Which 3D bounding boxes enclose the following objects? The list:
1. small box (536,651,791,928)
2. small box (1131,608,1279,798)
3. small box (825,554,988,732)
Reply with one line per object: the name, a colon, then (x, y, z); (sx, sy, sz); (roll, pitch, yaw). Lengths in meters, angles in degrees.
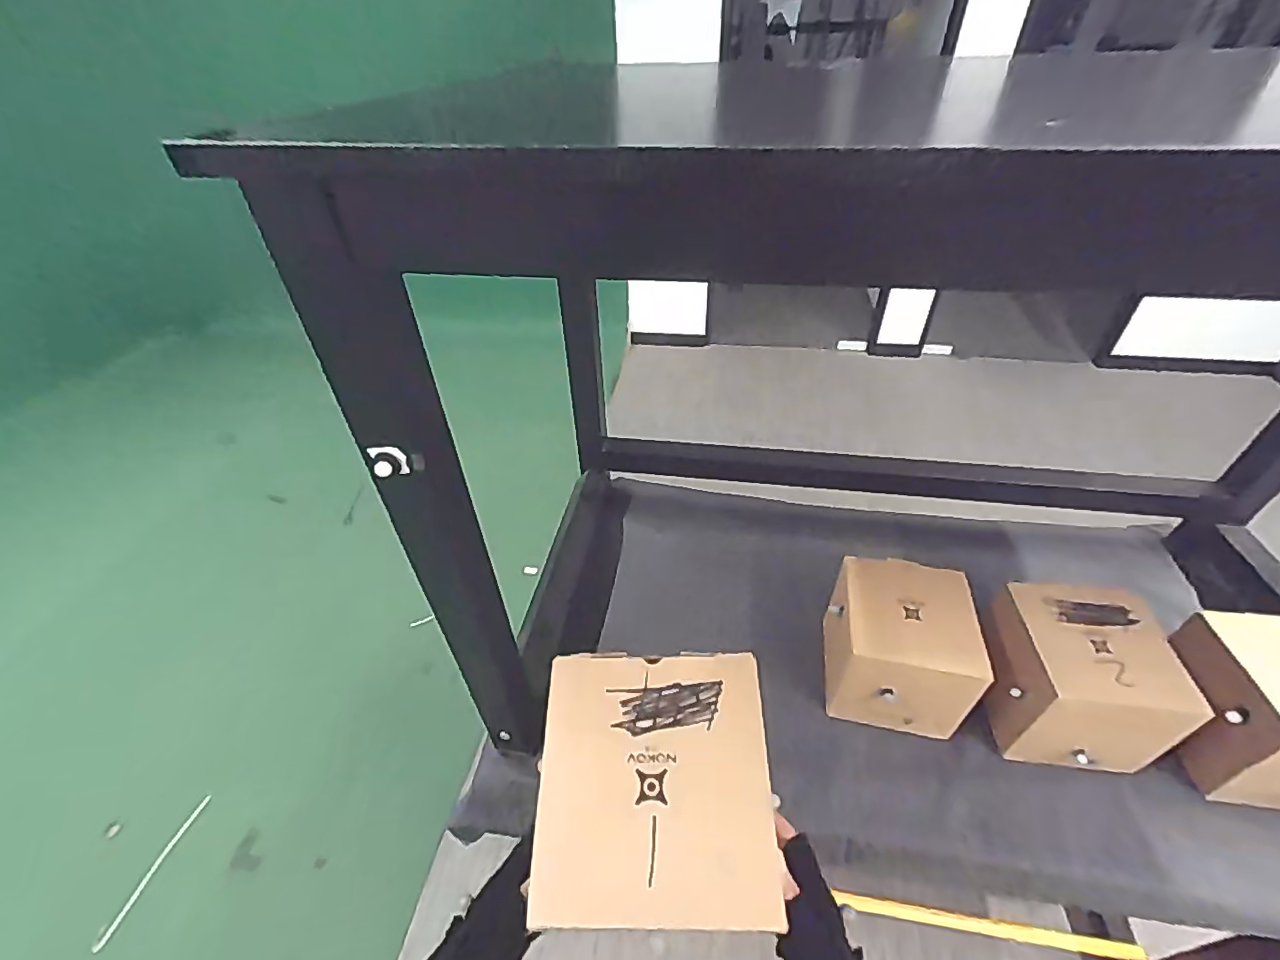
small box: (0.020, 0.259, 0.455); (0.168, 0.176, 0.179); (-2, 53, 4)
small box: (0.805, 0.292, 0.696); (0.168, 0.176, 0.179); (4, 40, 7)
small box: (0.370, 0.237, 0.786); (0.168, 0.176, 0.179); (7, 41, 11)
